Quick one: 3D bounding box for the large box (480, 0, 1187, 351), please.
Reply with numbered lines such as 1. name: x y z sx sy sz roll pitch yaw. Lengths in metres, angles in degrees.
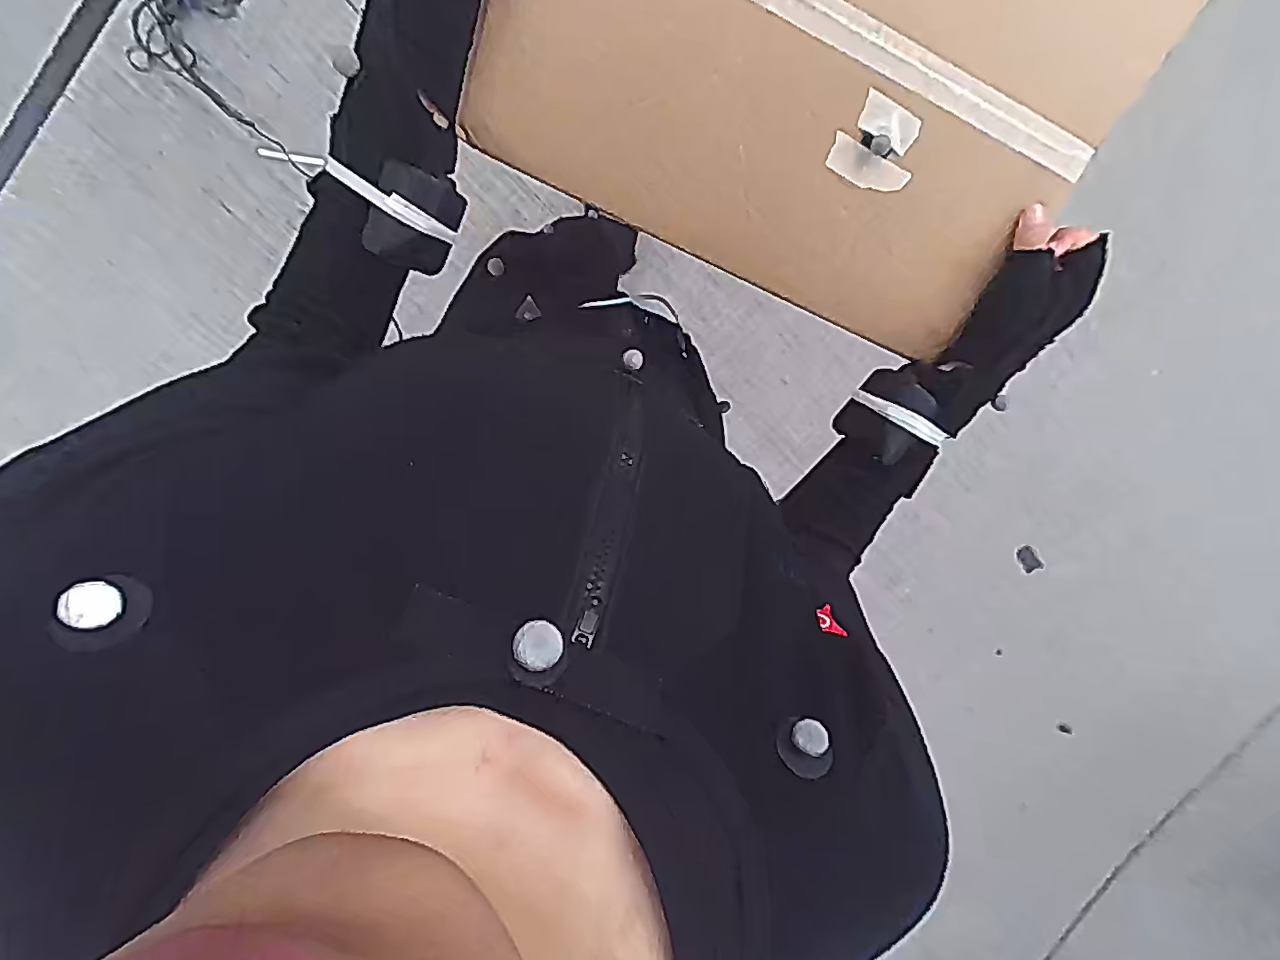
1. large box: 0.125 -0.369 0.480 0.408 0.320 0.320 22 119 -11
